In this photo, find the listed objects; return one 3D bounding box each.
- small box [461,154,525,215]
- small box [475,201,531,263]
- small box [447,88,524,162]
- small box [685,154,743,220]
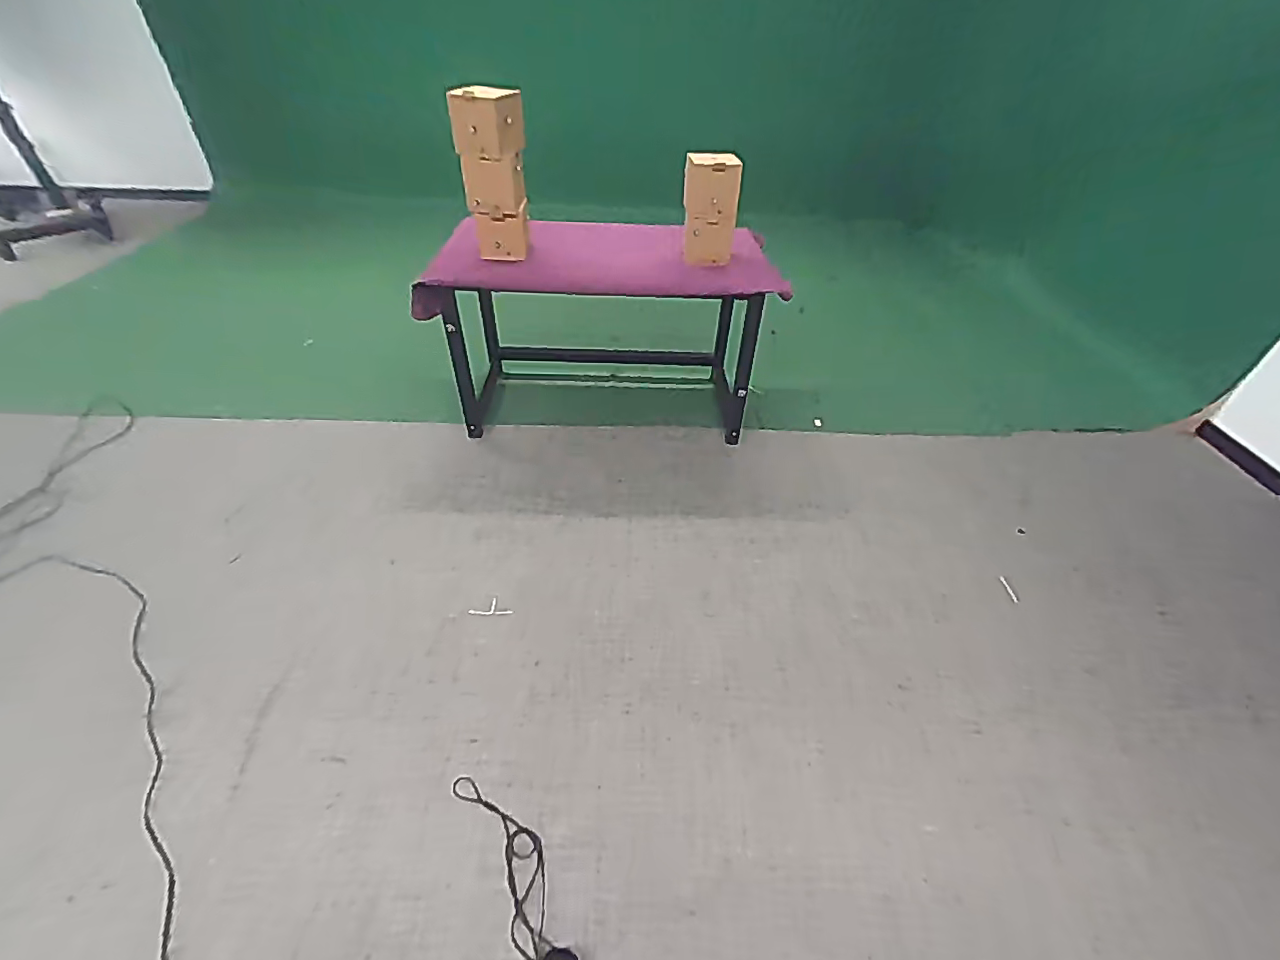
[{"bbox_3d":[-0.497,-1.024,1.858,0.168,0.176,0.179,4,42,0],"label":"small box"},{"bbox_3d":[-0.495,-0.914,1.980,0.168,0.176,0.179,0,43,-4],"label":"small box"},{"bbox_3d":[-0.489,-1.147,1.748,0.168,0.176,0.179,16,46,12],"label":"small box"},{"bbox_3d":[0.252,-1.026,1.894,0.168,0.176,0.179,-1,42,-4],"label":"small box"}]
